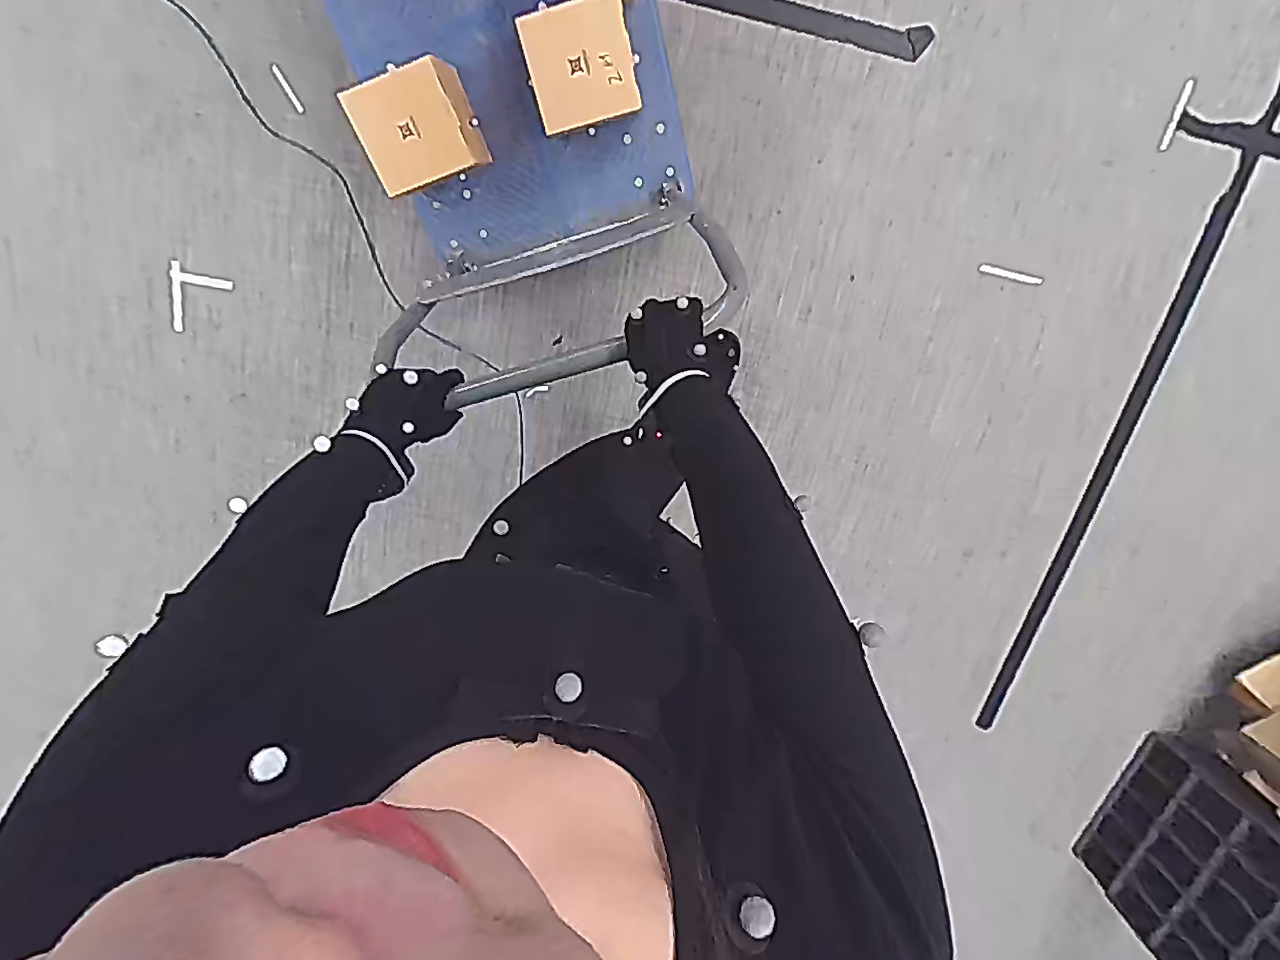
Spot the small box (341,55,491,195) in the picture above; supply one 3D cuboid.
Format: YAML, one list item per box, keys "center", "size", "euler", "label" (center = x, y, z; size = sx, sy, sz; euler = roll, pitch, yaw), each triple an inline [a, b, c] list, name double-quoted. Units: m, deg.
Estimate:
- center: [-0.401, -0.648, 1.004]
  size: [0.179, 0.176, 0.168]
  euler: [-18, 120, 7]
  label: "small box"

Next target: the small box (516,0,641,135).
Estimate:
- center: [-0.099, -0.732, 0.964]
  size: [0.179, 0.176, 0.168]
  euler: [-12, 121, 6]
  label: "small box"
